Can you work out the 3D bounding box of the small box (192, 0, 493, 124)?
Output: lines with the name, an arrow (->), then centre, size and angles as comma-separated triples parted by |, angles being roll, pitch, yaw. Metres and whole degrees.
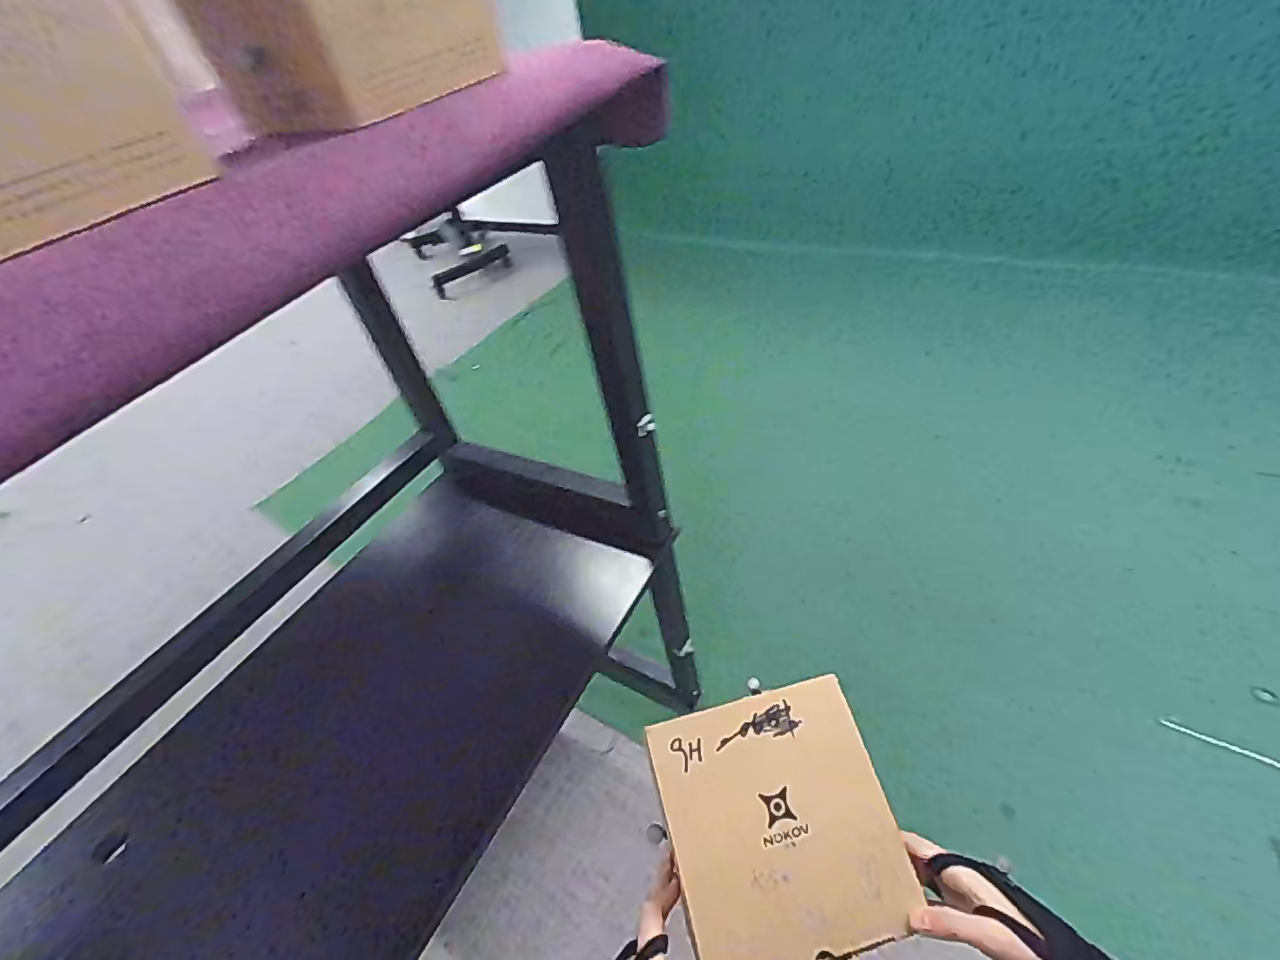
small box -> -0.241, -0.403, 0.426 | 0.168, 0.176, 0.179 | 17, 53, 28
